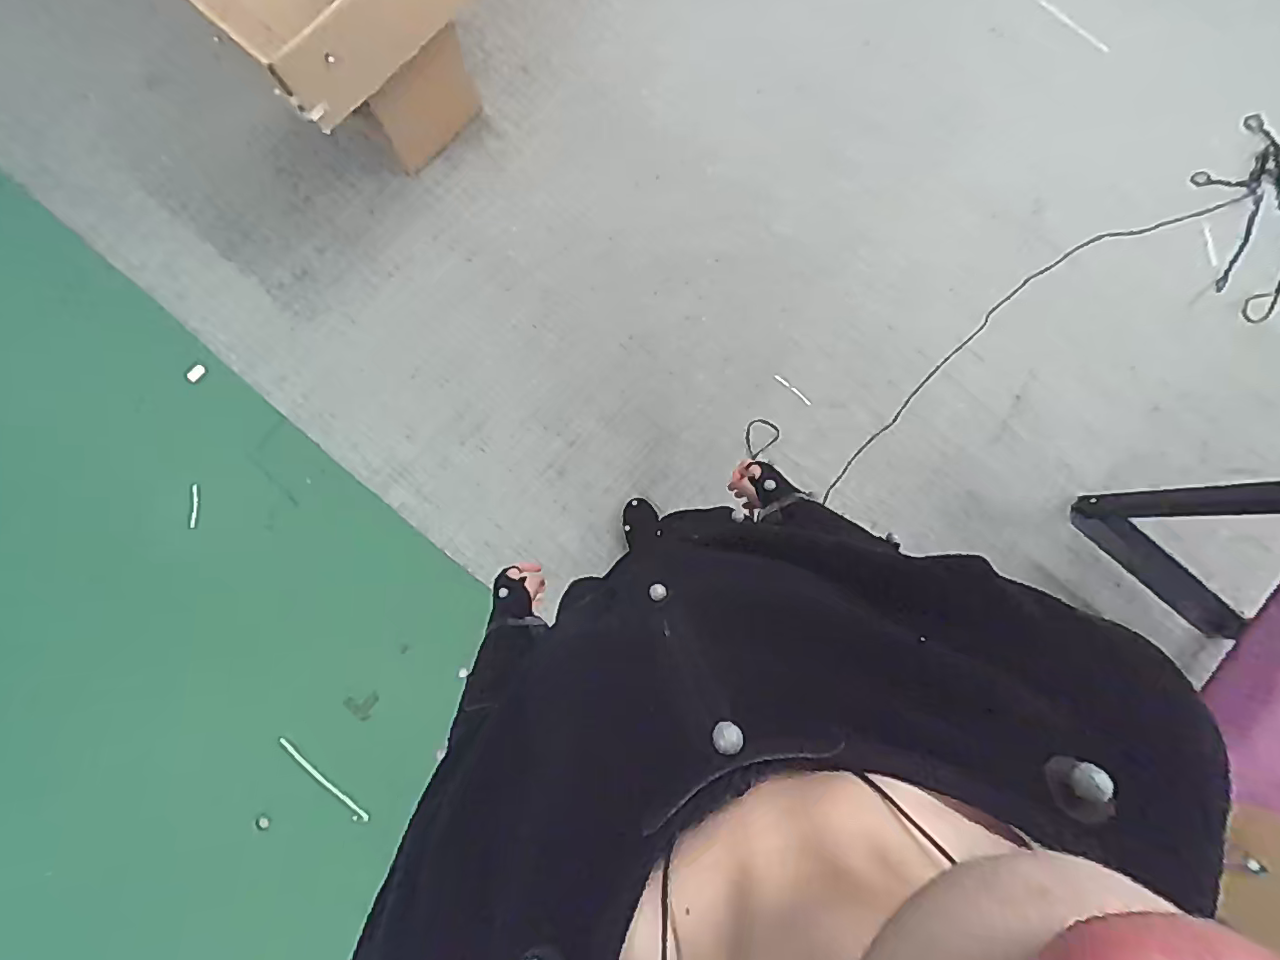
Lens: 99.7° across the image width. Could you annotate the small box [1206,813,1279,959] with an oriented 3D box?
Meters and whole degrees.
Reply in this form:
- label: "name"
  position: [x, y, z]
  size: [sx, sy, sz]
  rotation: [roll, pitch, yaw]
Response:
- label: "small box"
  position: [0.912, 0.574, 0.689]
  size: [0.179, 0.176, 0.168]
  rotation: [35, 84, 1]
